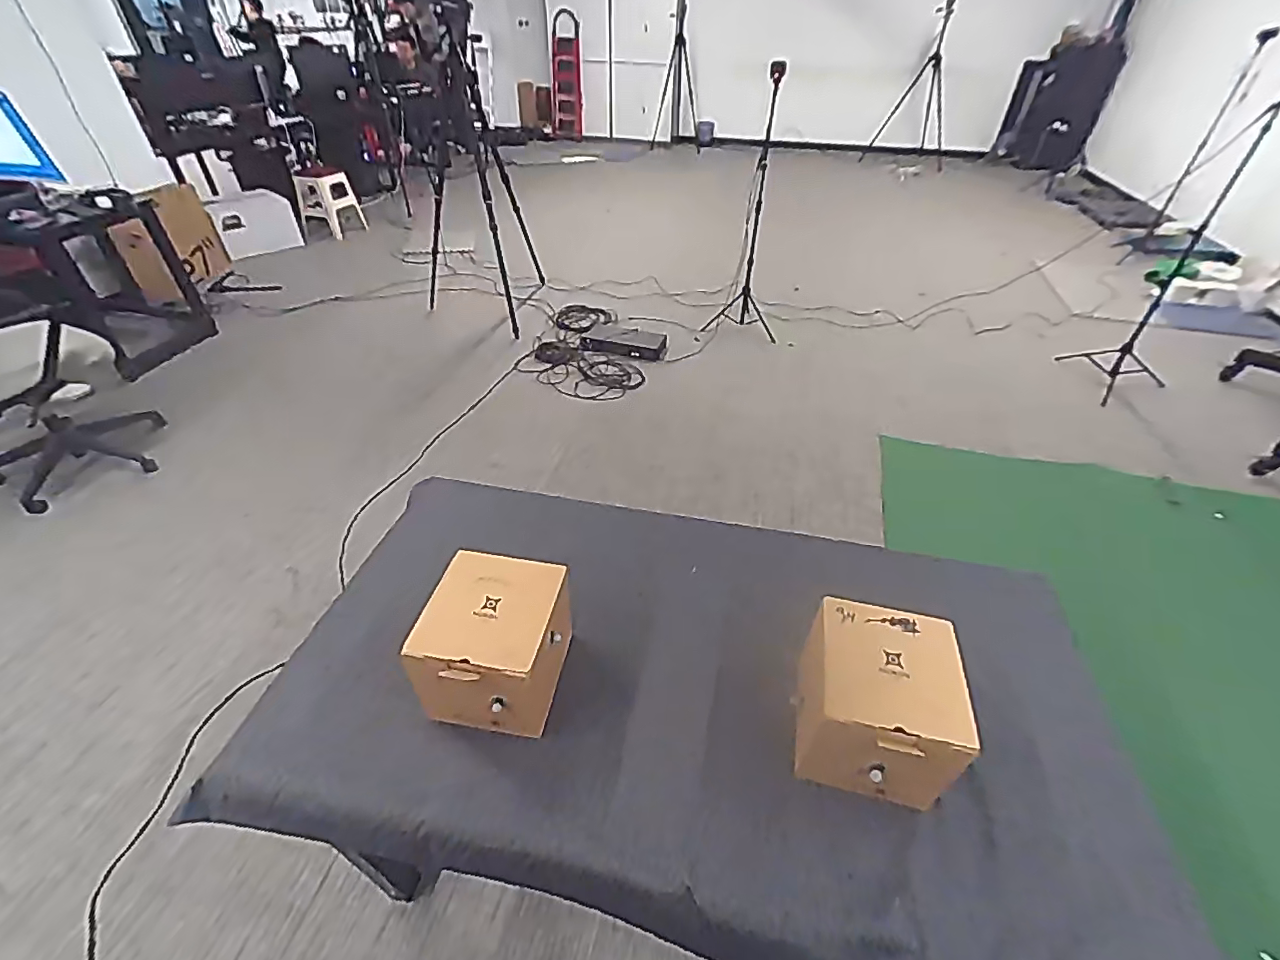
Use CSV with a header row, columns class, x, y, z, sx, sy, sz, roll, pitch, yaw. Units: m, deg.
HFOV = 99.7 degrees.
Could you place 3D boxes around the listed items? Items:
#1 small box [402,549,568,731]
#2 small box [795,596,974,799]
class,x,y,z,sx,sy,sz,roll,pitch,yaw
small box,-0.201,0.226,0.765,0.168,0.176,0.179,8,39,5
small box,0.304,0.286,0.711,0.168,0.176,0.179,10,42,10
